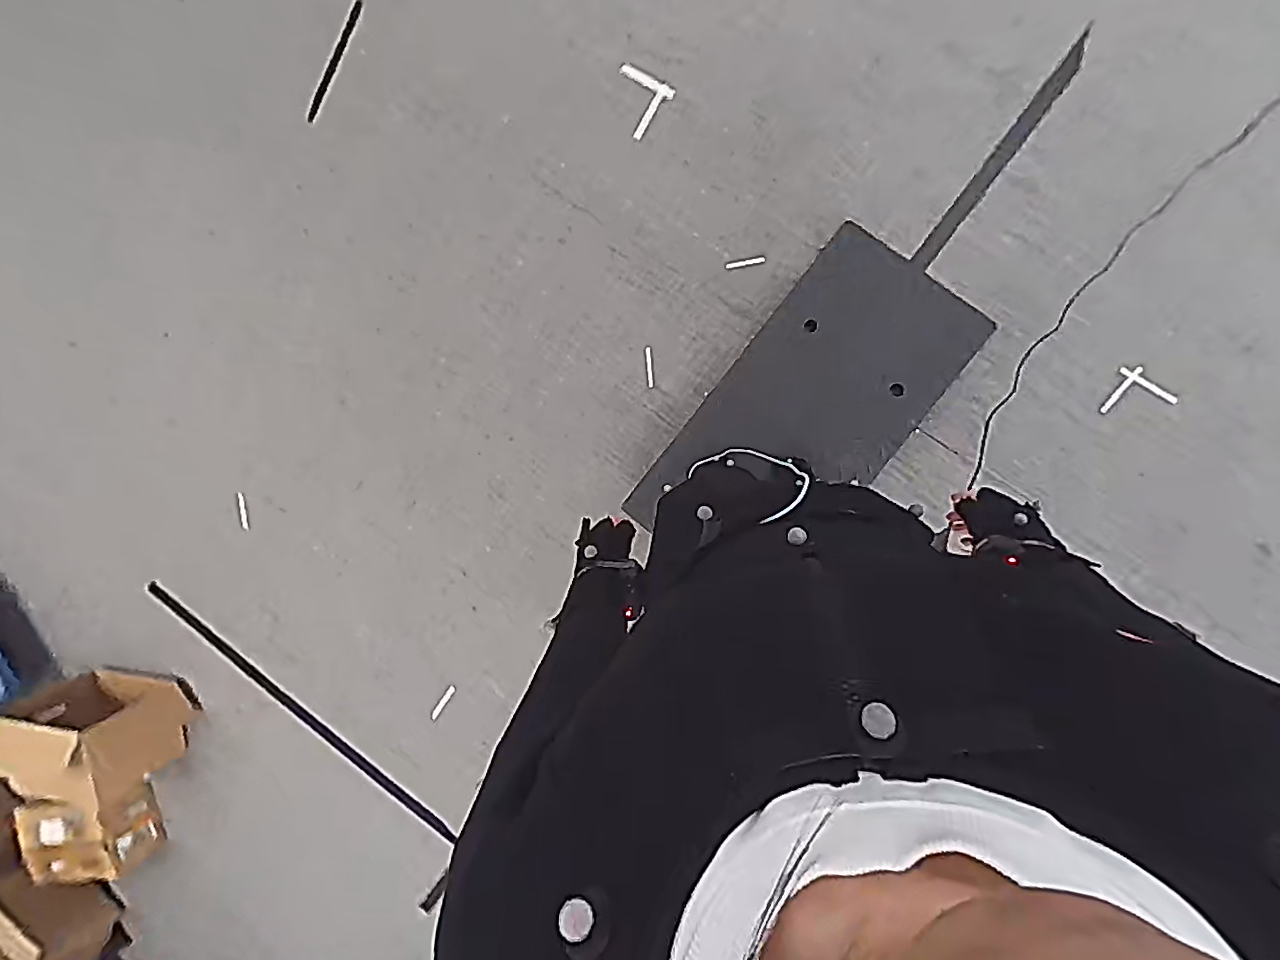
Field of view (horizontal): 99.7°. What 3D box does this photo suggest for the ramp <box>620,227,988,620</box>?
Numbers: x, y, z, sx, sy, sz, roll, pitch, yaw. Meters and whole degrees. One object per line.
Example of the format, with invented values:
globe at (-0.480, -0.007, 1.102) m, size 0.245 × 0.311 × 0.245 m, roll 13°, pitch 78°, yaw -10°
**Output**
ramp at (0.432, -0.160, 1.465) m, size 0.509 × 0.206 × 0.991 m, roll 36°, pitch 101°, yaw 6°
